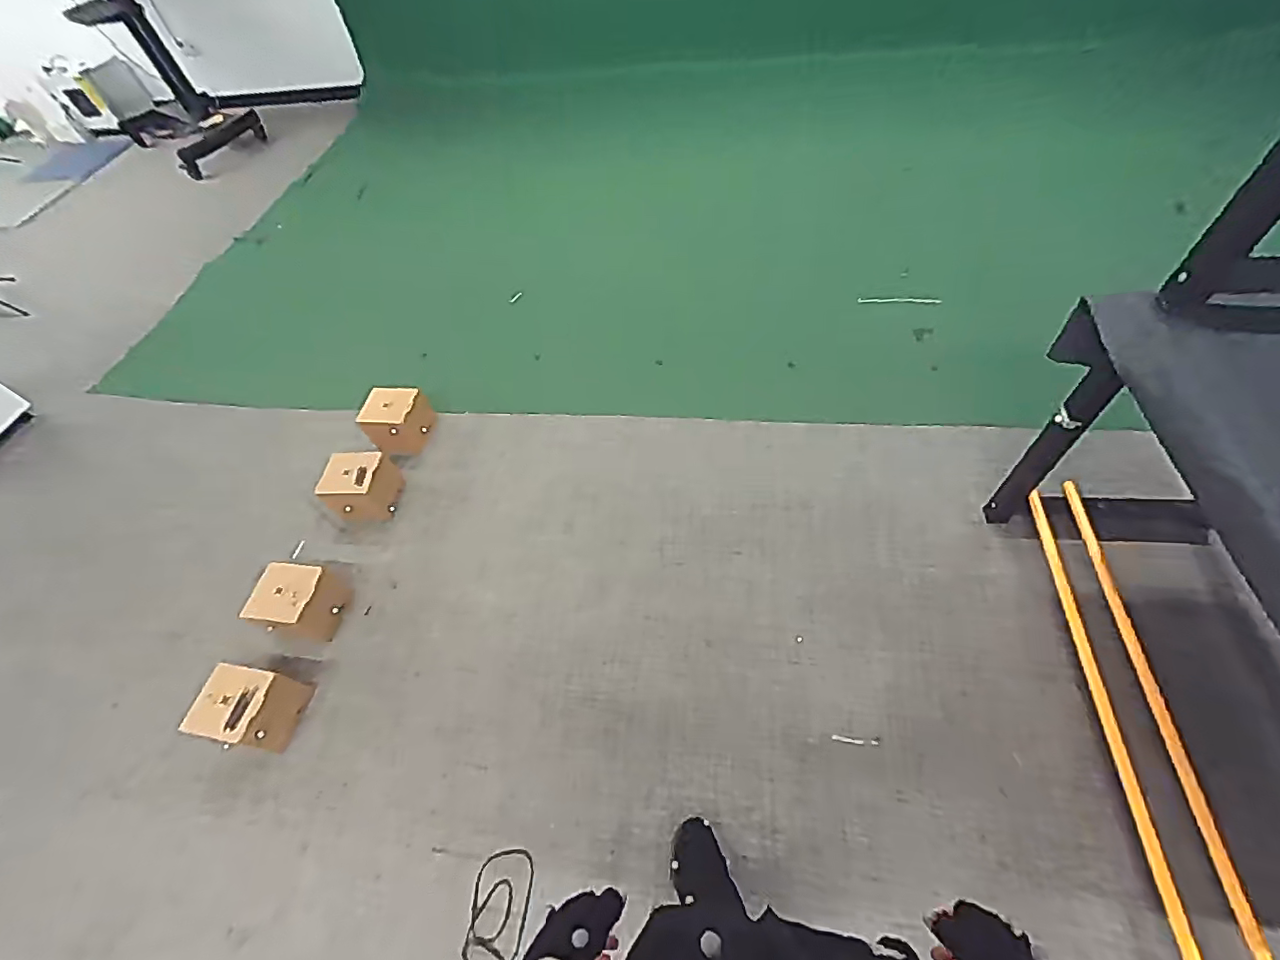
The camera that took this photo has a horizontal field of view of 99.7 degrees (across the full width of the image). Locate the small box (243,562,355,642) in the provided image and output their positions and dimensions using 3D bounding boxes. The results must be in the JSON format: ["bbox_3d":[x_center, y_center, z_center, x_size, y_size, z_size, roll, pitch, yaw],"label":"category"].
[{"bbox_3d":[-0.966,0.352,1.548,0.179,0.176,0.168,4,56,9],"label":"small box"}]

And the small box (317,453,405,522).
[{"bbox_3d":[-0.906,0.028,1.779,0.179,0.176,0.168,-1,54,7],"label":"small box"}]

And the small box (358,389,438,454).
[{"bbox_3d":[-0.864,-0.208,1.947,0.179,0.176,0.168,3,55,8],"label":"small box"}]
